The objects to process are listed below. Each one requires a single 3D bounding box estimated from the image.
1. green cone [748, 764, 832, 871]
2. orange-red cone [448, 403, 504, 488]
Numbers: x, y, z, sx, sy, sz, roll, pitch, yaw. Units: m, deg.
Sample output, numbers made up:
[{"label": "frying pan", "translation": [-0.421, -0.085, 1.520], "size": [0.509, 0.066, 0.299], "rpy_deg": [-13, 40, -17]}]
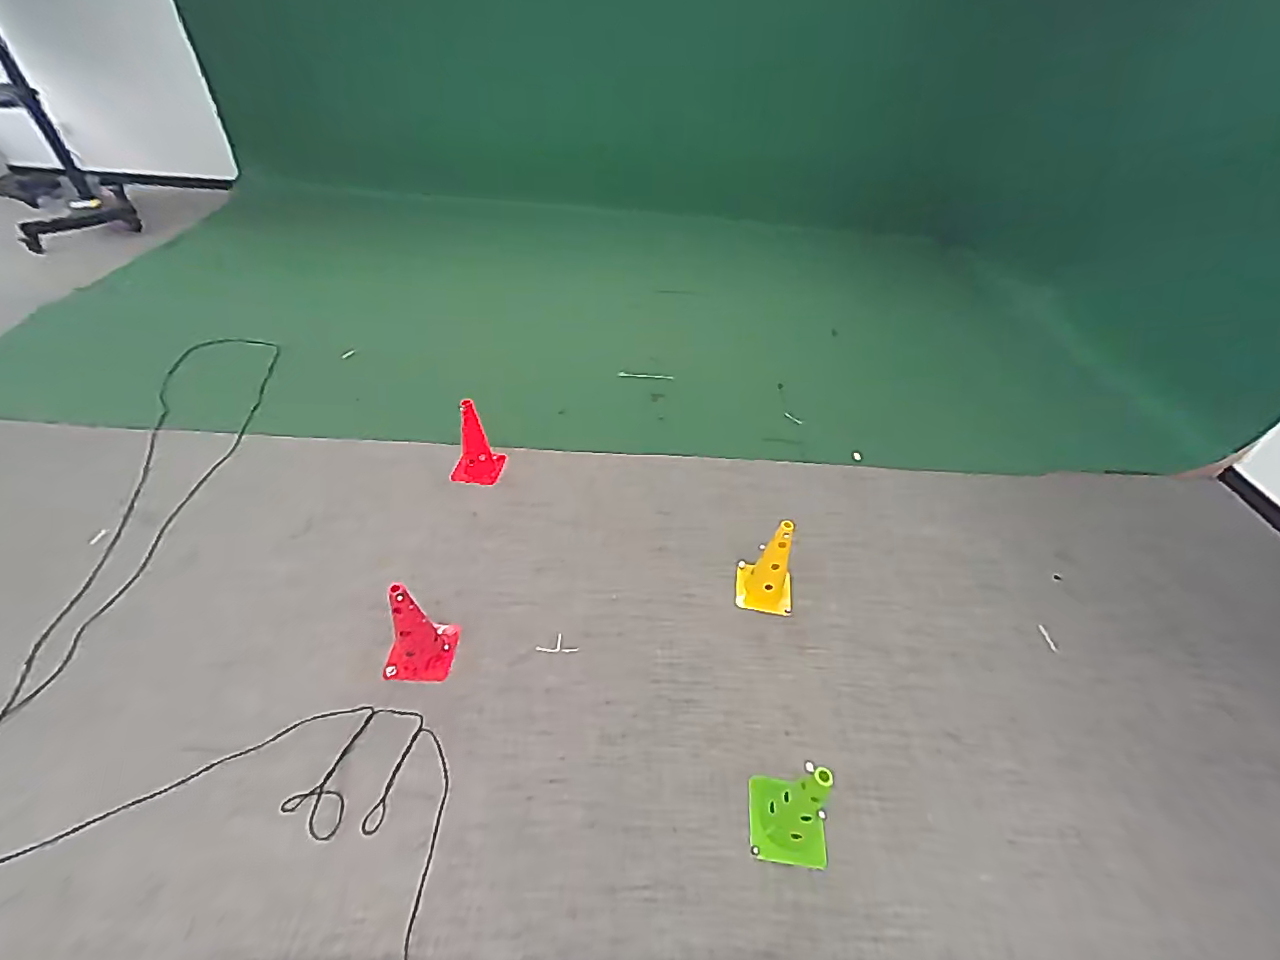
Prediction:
[{"label": "green cone", "translation": [0.408, 0.802, 1.344], "size": [0.200, 0.368, 0.202], "rpy_deg": [7, 42, 1]}, {"label": "orange-red cone", "translation": [-0.704, -0.163, 2.239], "size": [0.199, 0.360, 0.198], "rpy_deg": [7, 43, 4]}]
